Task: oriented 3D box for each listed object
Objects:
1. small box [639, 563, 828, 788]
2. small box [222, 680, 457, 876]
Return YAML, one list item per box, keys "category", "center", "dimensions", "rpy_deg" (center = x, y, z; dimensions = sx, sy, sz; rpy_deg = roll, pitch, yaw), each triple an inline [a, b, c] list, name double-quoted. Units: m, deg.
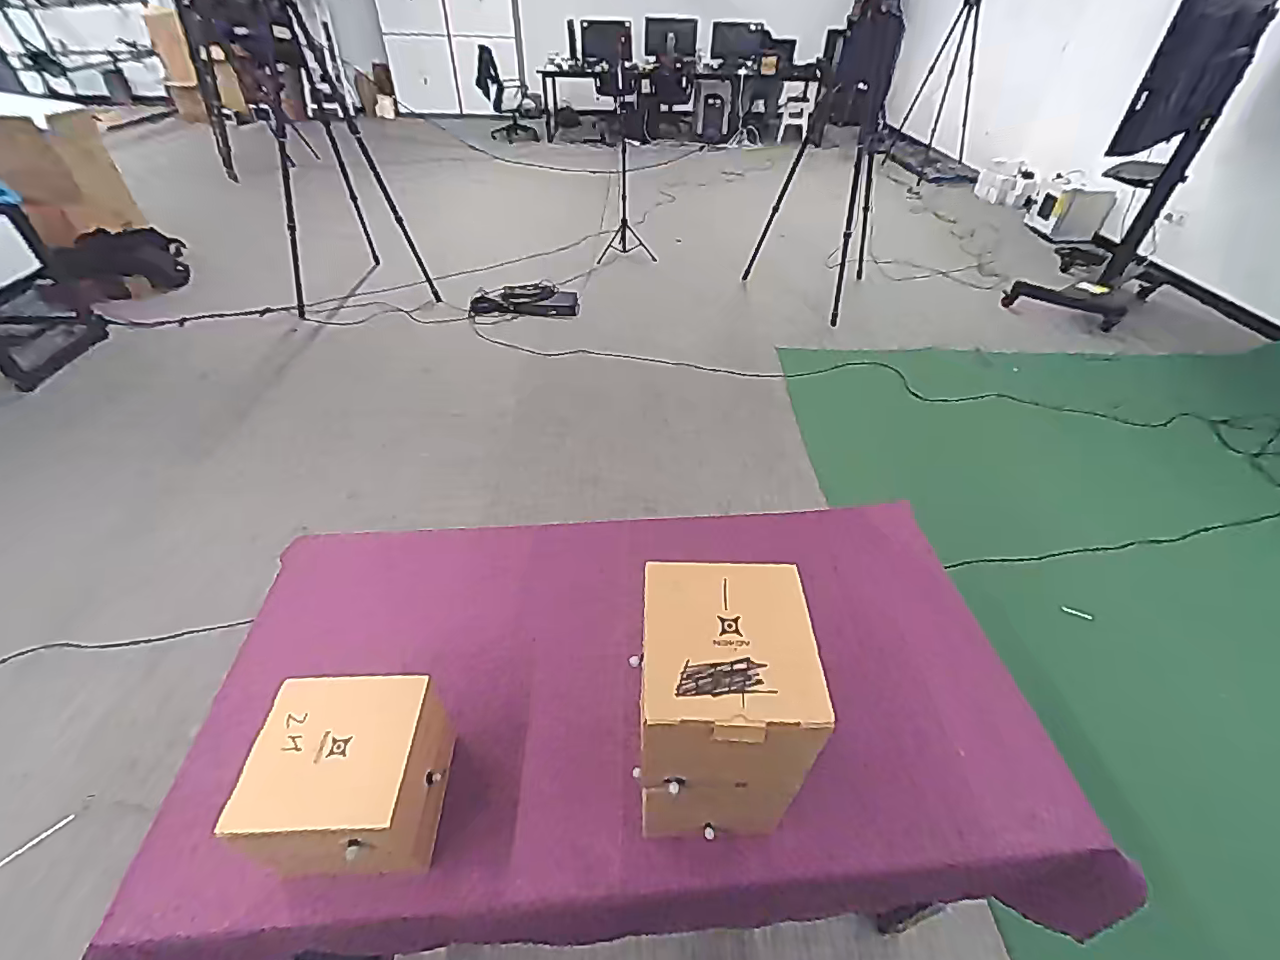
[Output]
- category: "small box"
  center: [0.085, 0.209, 0.577]
  dimensions: [0.168, 0.176, 0.179]
  rpy_deg: [1, 41, 1]
- category: "small box"
  center: [-0.337, 0.360, 0.656]
  dimensions: [0.179, 0.176, 0.168]
  rpy_deg: [-1, 41, -2]
